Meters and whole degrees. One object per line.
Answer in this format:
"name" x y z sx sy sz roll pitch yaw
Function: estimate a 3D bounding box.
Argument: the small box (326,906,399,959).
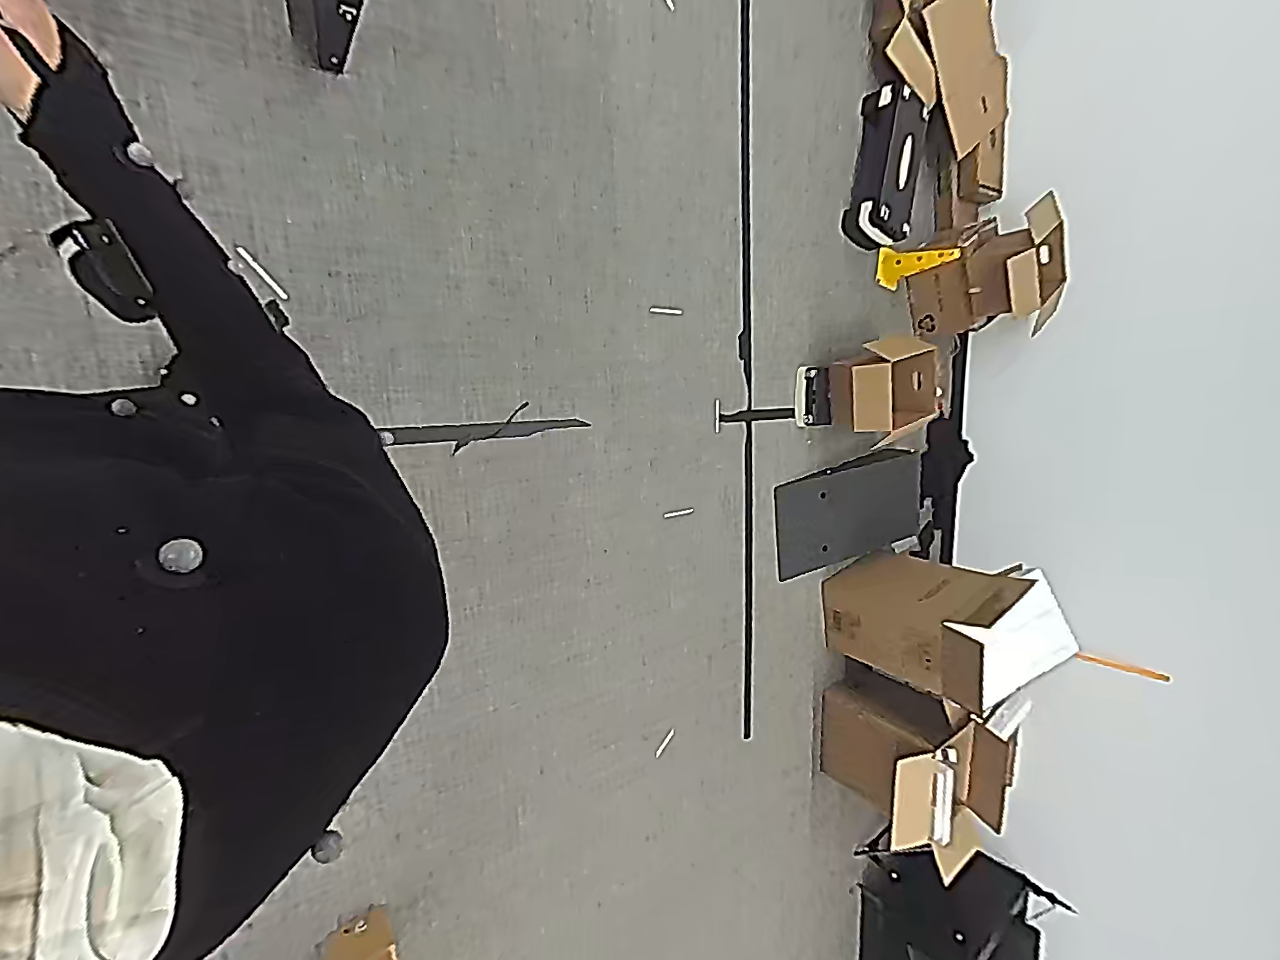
"small box" -0.814 1.432 1.599 0.168 0.176 0.179 -14 105 -35
